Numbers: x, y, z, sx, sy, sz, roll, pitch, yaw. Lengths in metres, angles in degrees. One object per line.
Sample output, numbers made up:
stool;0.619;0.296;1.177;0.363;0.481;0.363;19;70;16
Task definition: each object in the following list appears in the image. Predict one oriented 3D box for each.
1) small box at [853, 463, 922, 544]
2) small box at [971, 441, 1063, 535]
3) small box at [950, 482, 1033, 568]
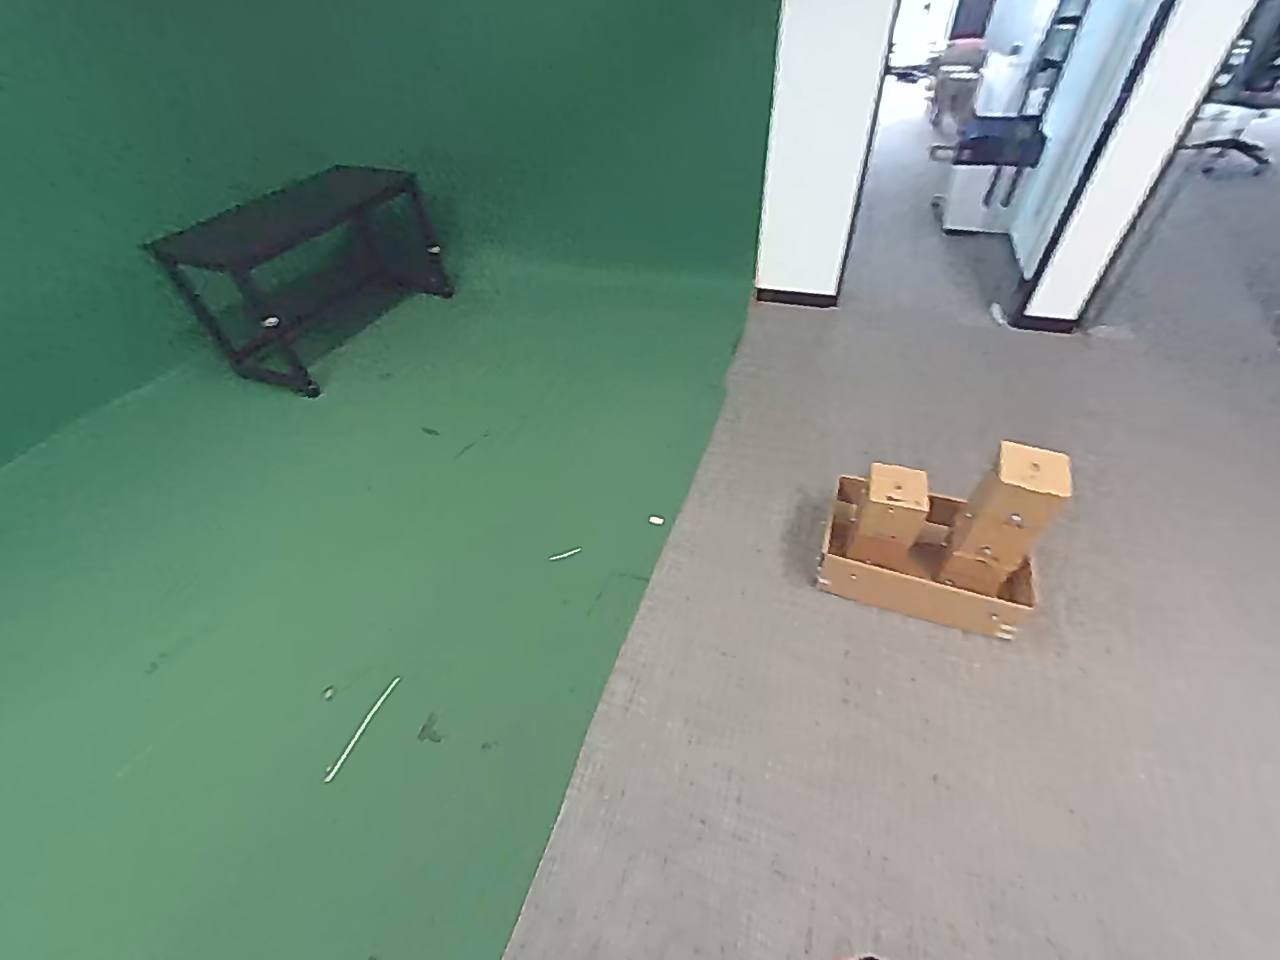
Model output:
small box;0.790;0.075;1.733;0.168;0.176;0.179;11;47;15
small box;1.065;0.023;1.536;0.168;0.176;0.179;17;51;19
small box;1.074;0.136;1.658;0.168;0.176;0.179;17;51;18
